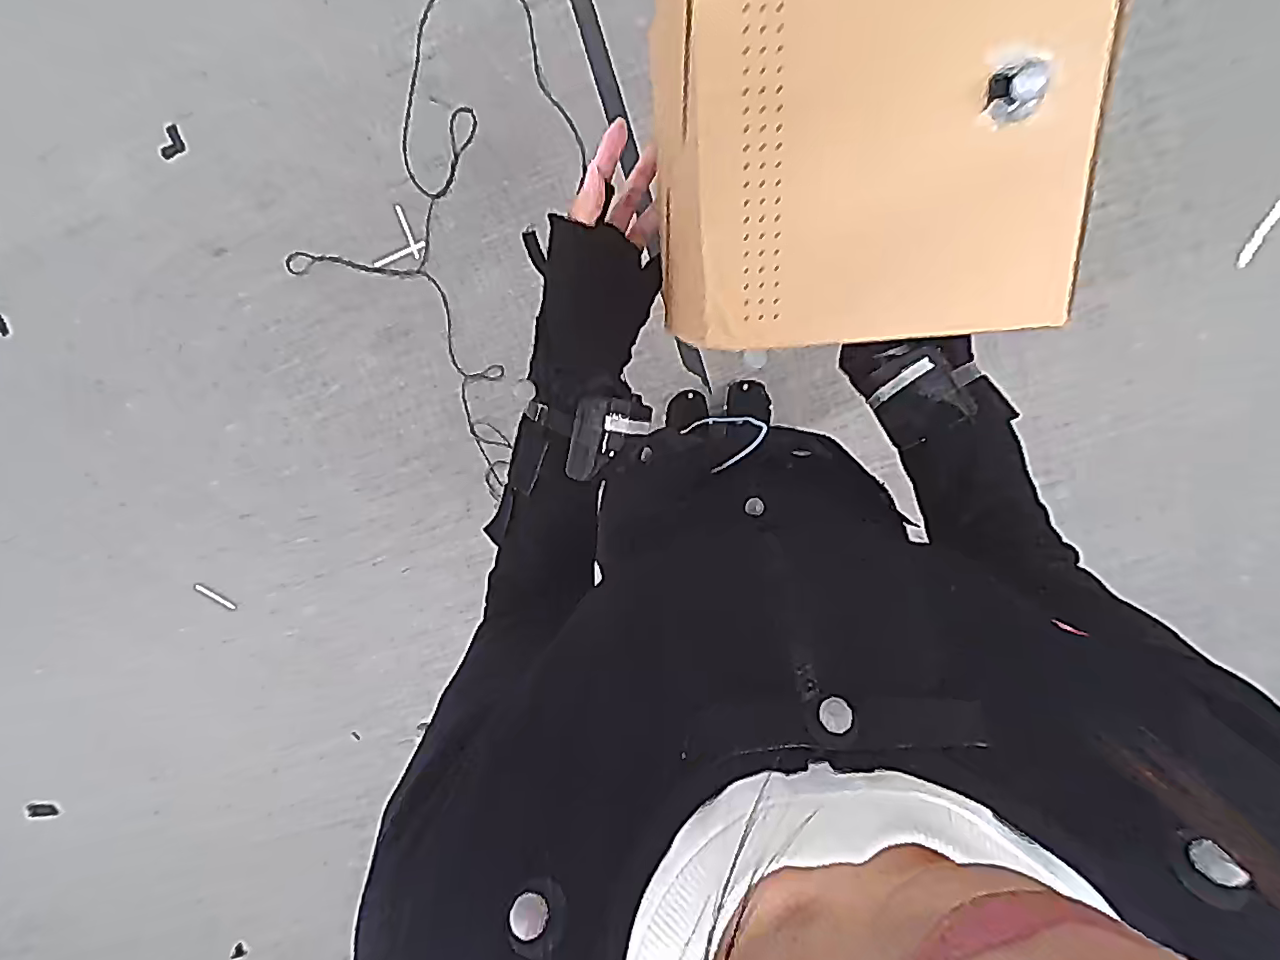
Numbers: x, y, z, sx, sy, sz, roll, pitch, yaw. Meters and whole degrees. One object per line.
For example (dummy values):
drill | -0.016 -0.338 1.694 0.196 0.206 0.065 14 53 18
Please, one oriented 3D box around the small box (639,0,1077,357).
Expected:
small box | 0.089 -0.171 0.300 0.176 0.168 0.179 -5 108 -1
